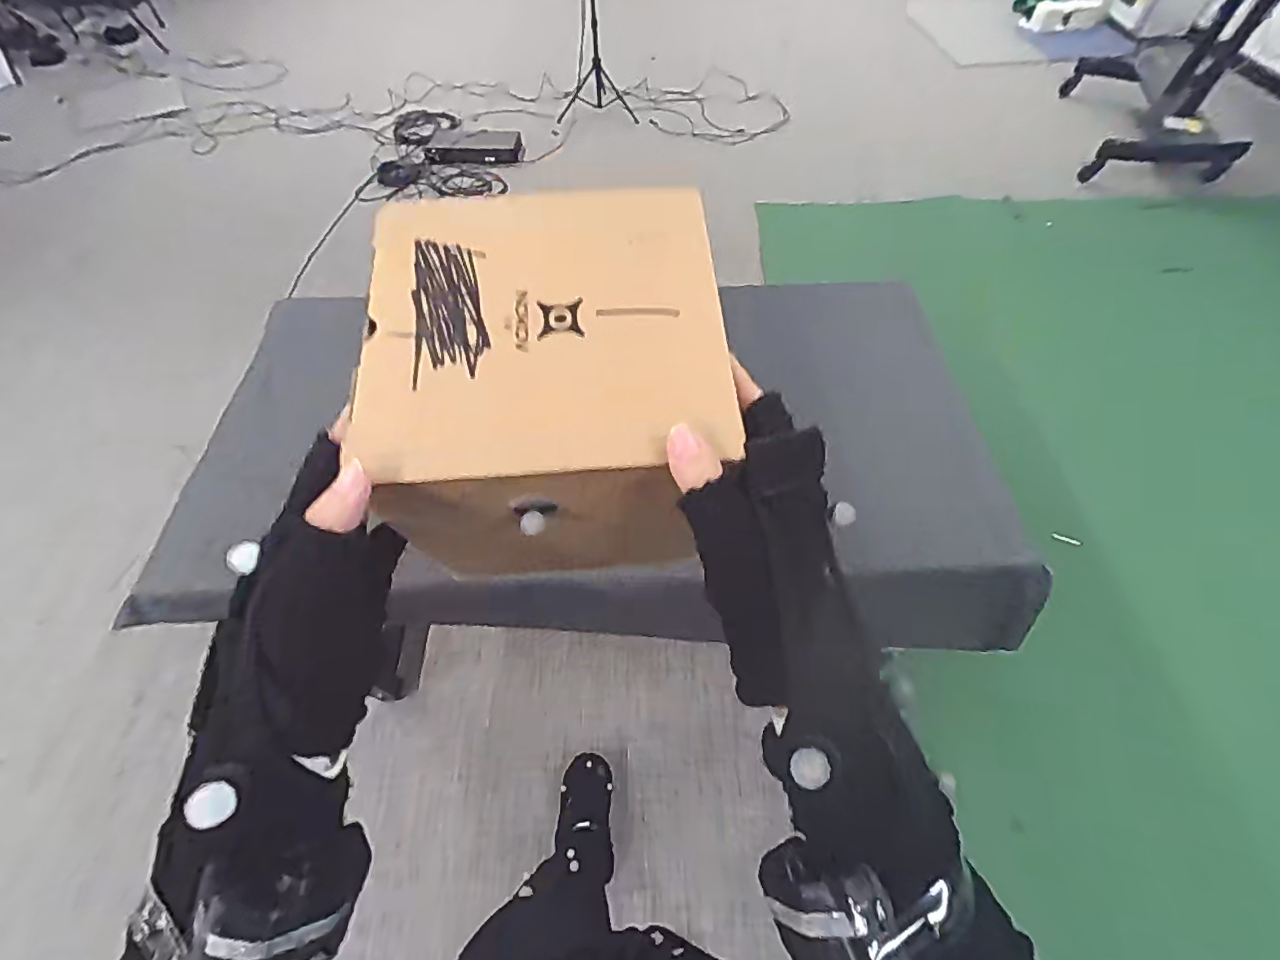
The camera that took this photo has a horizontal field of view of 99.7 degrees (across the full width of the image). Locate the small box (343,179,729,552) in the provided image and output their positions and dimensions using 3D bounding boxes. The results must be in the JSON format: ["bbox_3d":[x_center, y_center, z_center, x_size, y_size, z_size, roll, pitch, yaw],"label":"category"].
[{"bbox_3d":[-0.051,-0.057,0.344,0.179,0.176,0.168,-4,67,-3],"label":"small box"}]
